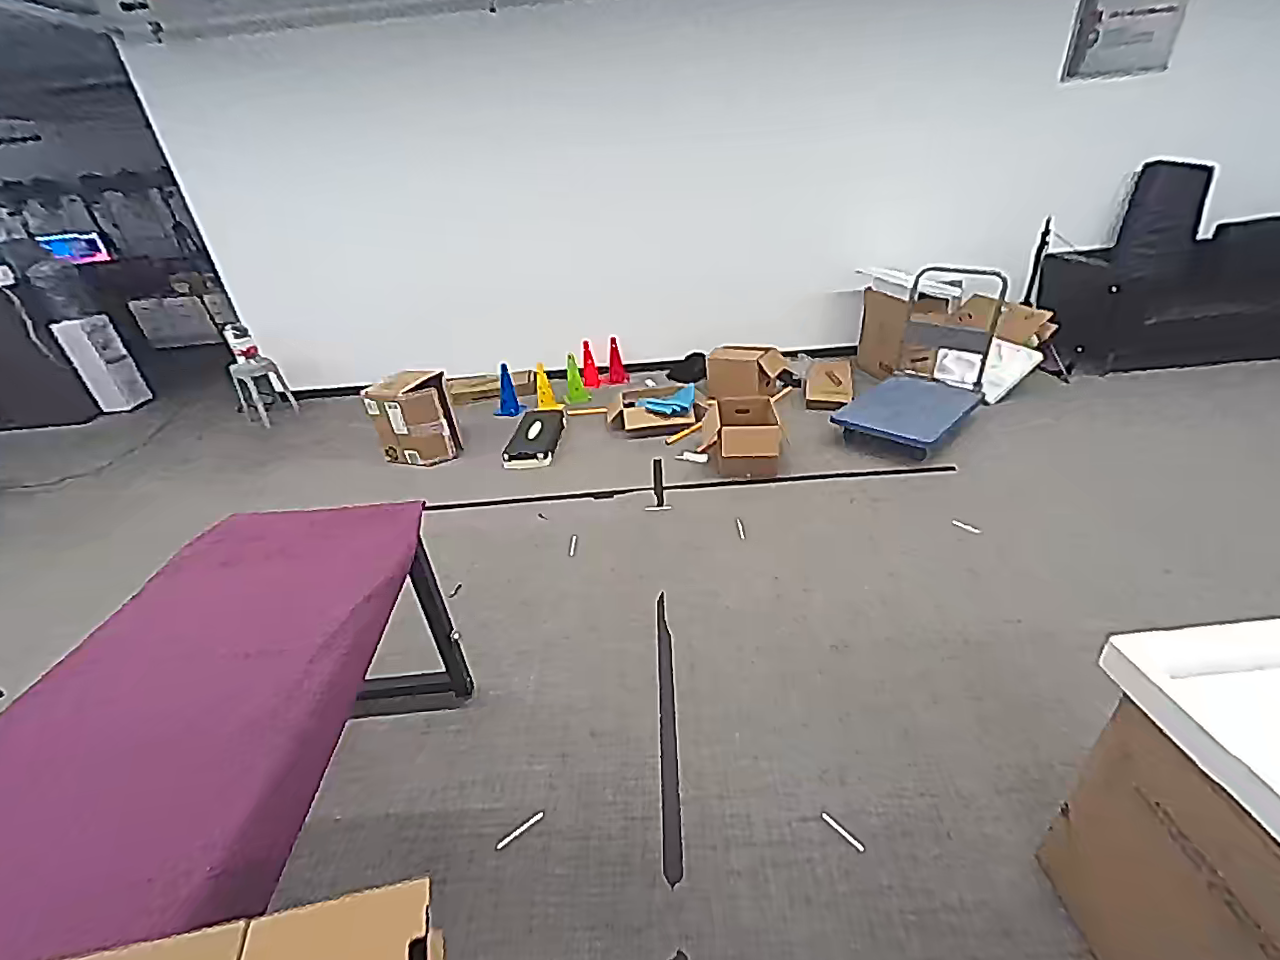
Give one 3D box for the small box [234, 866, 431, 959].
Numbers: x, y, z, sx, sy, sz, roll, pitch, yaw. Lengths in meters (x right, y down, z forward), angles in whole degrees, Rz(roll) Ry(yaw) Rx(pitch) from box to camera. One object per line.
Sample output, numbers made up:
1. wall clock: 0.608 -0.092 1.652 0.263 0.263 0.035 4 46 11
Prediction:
1. small box: -0.306 0.544 0.545 0.179 0.176 0.168 1 25 -22
